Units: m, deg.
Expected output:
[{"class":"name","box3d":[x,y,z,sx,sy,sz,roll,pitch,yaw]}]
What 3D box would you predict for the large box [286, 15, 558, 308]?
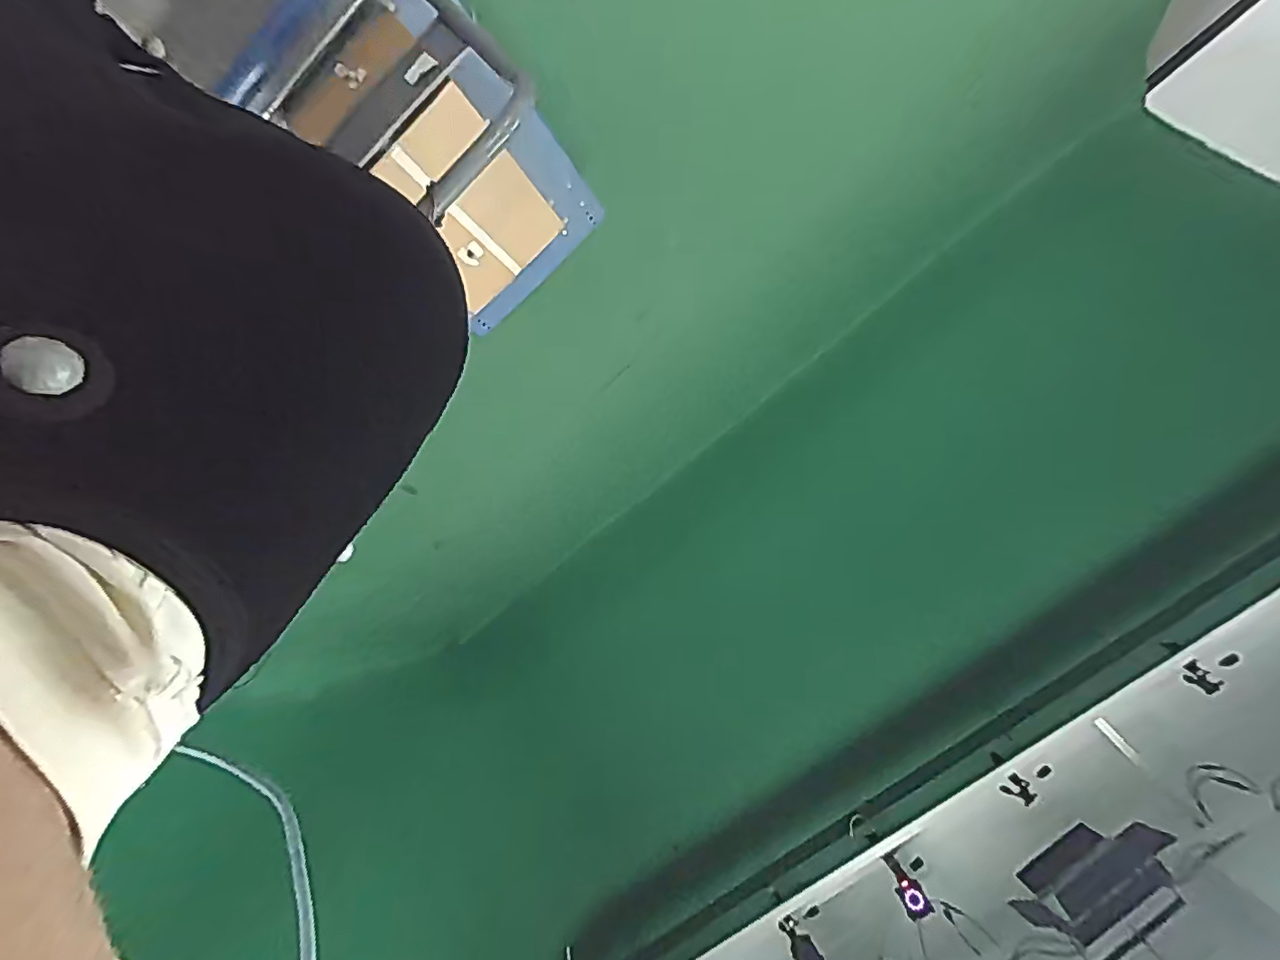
[{"class":"large box","box3d":[-0.464,-0.671,1.199,0.320,0.320,0.408,-40,157,9]}]
